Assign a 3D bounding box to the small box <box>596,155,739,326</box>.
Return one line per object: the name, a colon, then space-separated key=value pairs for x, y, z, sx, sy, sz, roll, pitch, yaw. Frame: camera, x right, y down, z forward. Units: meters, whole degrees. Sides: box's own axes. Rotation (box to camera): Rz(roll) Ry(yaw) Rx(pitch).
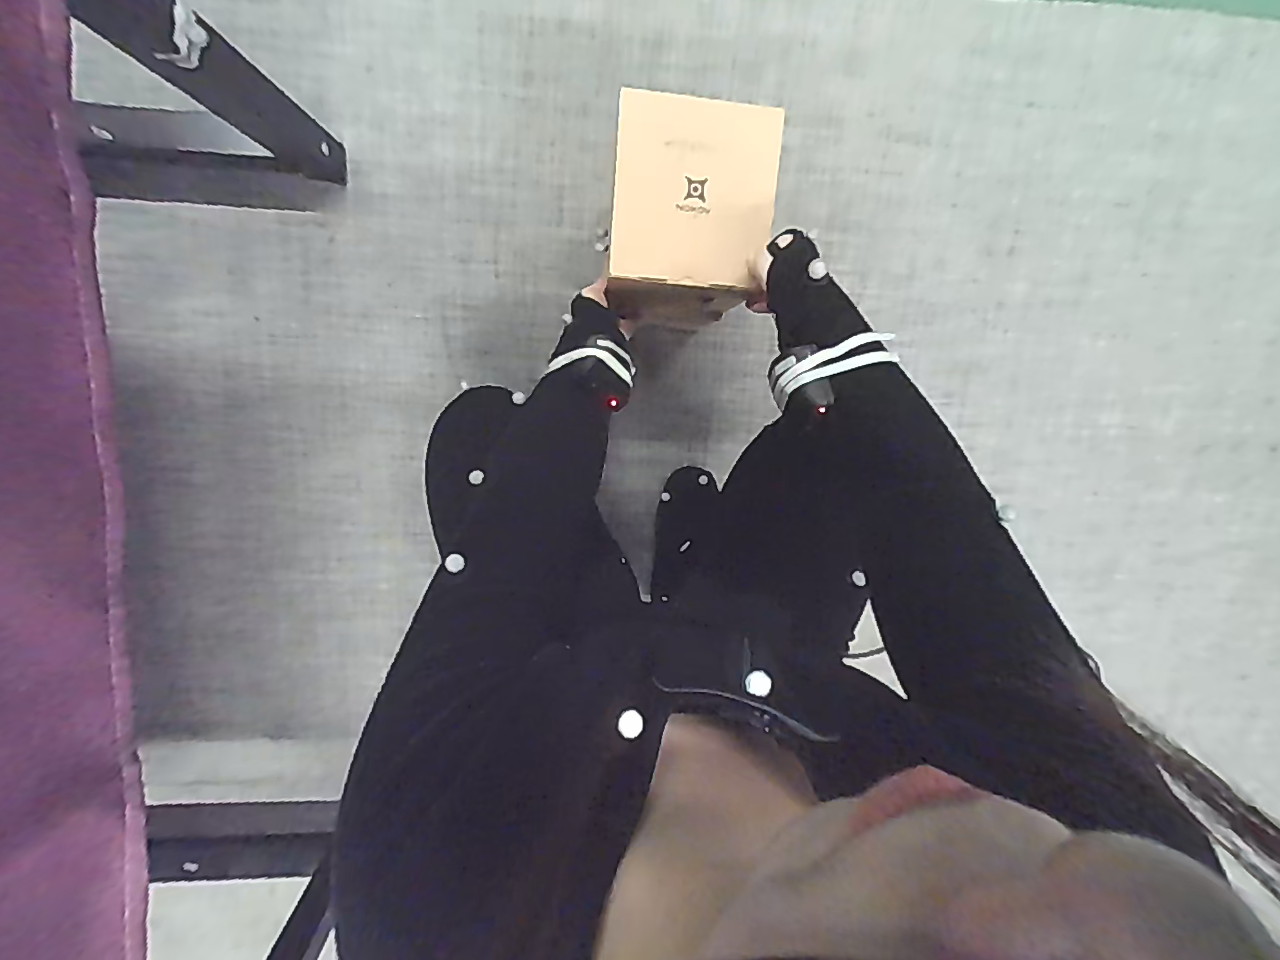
small box: x=0.029 y=-0.326 z=0.778 sx=0.168 sy=0.176 sz=0.179 roll=7 pitch=99 yaw=-7
